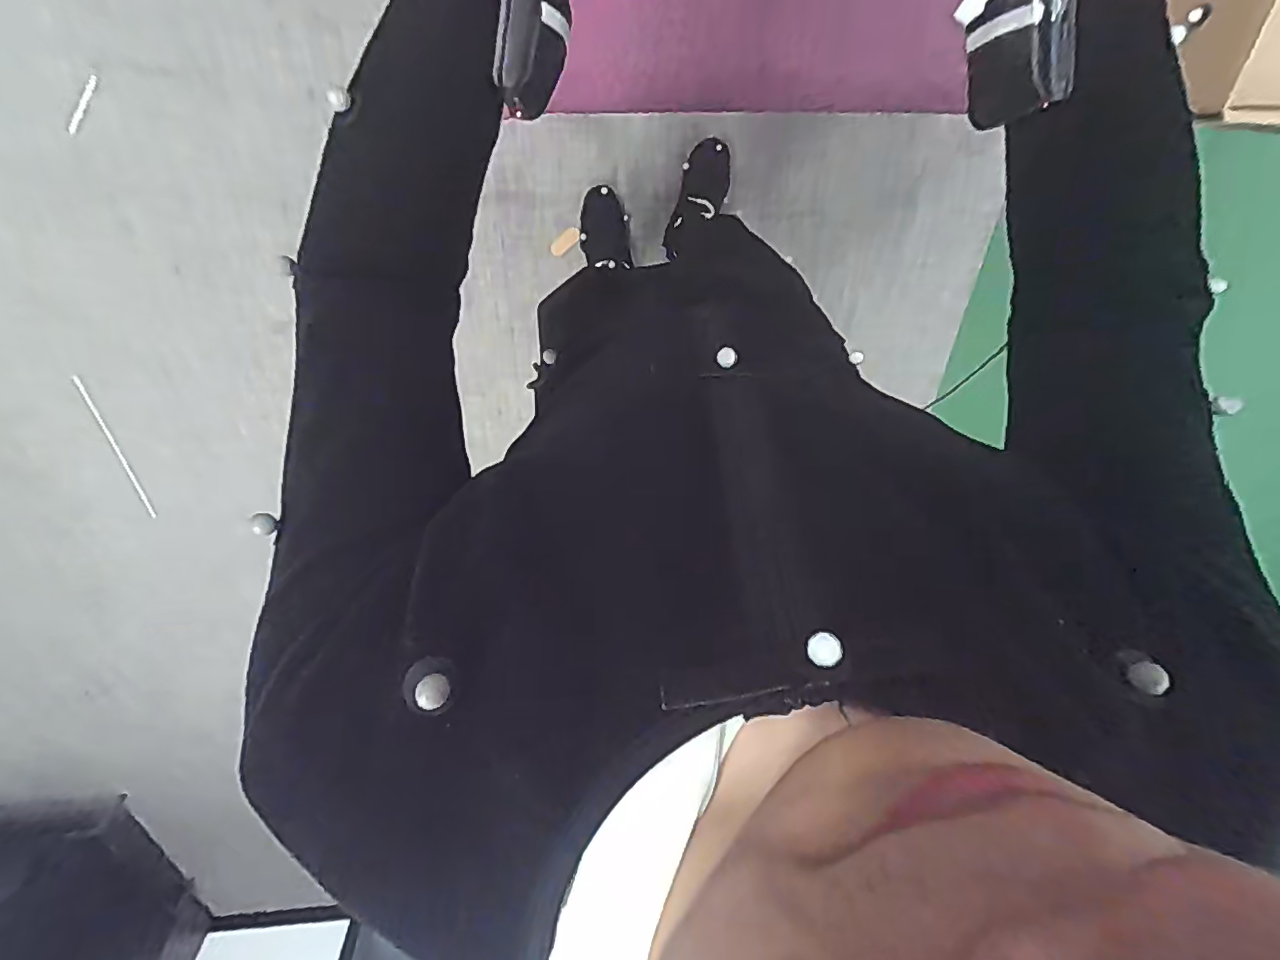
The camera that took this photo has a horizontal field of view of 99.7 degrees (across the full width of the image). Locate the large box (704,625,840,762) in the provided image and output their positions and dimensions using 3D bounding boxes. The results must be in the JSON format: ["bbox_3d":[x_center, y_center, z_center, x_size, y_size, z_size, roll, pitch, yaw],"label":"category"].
[{"bbox_3d":[0.530,0.873,2.220,0.408,0.320,0.320,-29,121,10],"label":"large box"}]
